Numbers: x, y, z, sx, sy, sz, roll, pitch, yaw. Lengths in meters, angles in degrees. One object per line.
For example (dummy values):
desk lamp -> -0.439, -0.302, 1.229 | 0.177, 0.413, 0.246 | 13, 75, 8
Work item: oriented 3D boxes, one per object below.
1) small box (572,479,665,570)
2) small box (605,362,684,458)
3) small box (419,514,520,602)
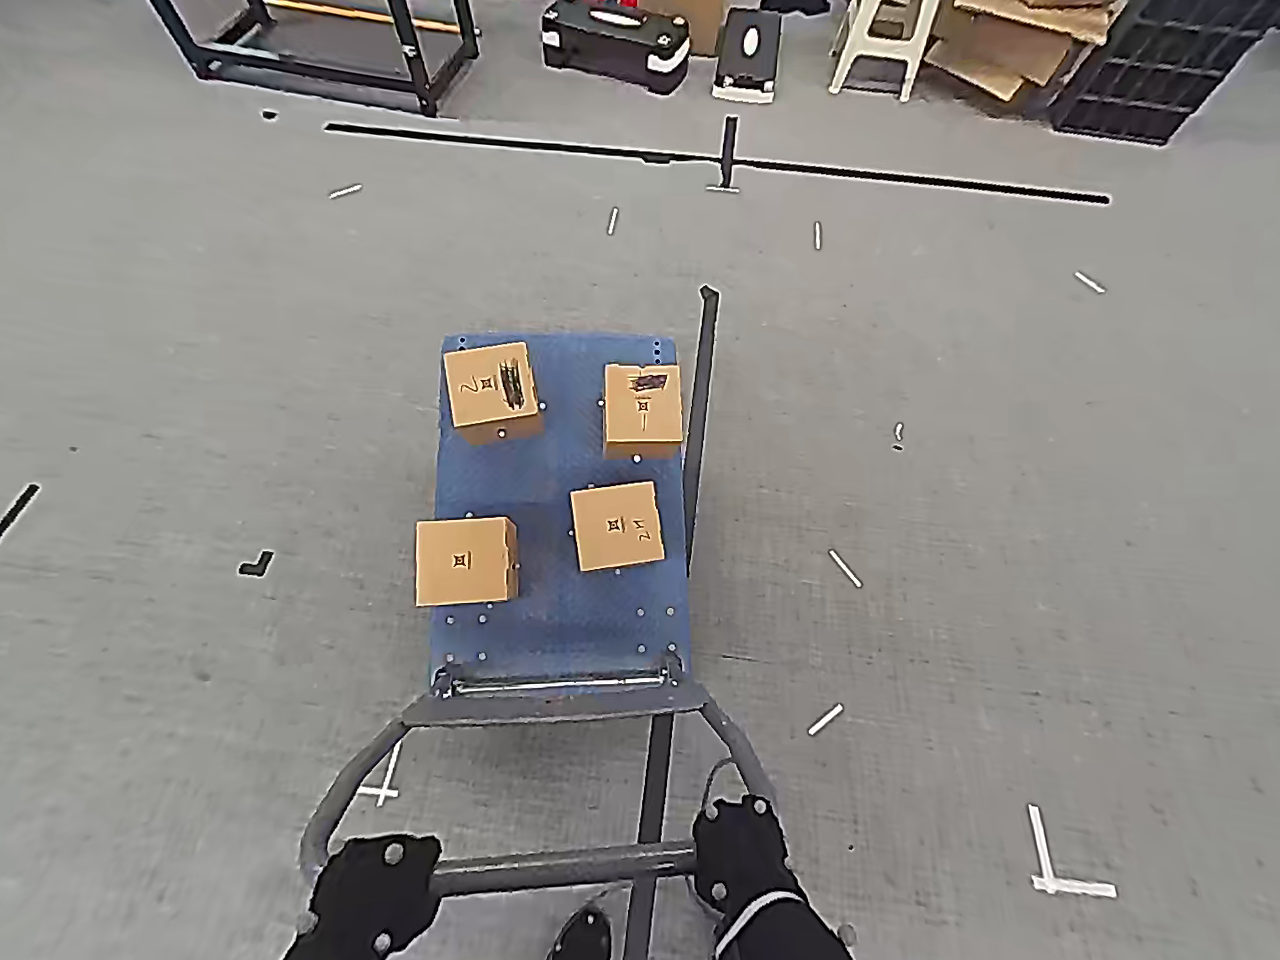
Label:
small box -> -0.050, 0.103, 1.181 | 0.179, 0.176, 0.168 | -7, 80, -7
small box -> 0.004, -0.155, 1.236 | 0.168, 0.176, 0.179 | -1, 80, -5
small box -> -0.353, 0.168, 1.139 | 0.179, 0.176, 0.168 | -3, 79, -8
